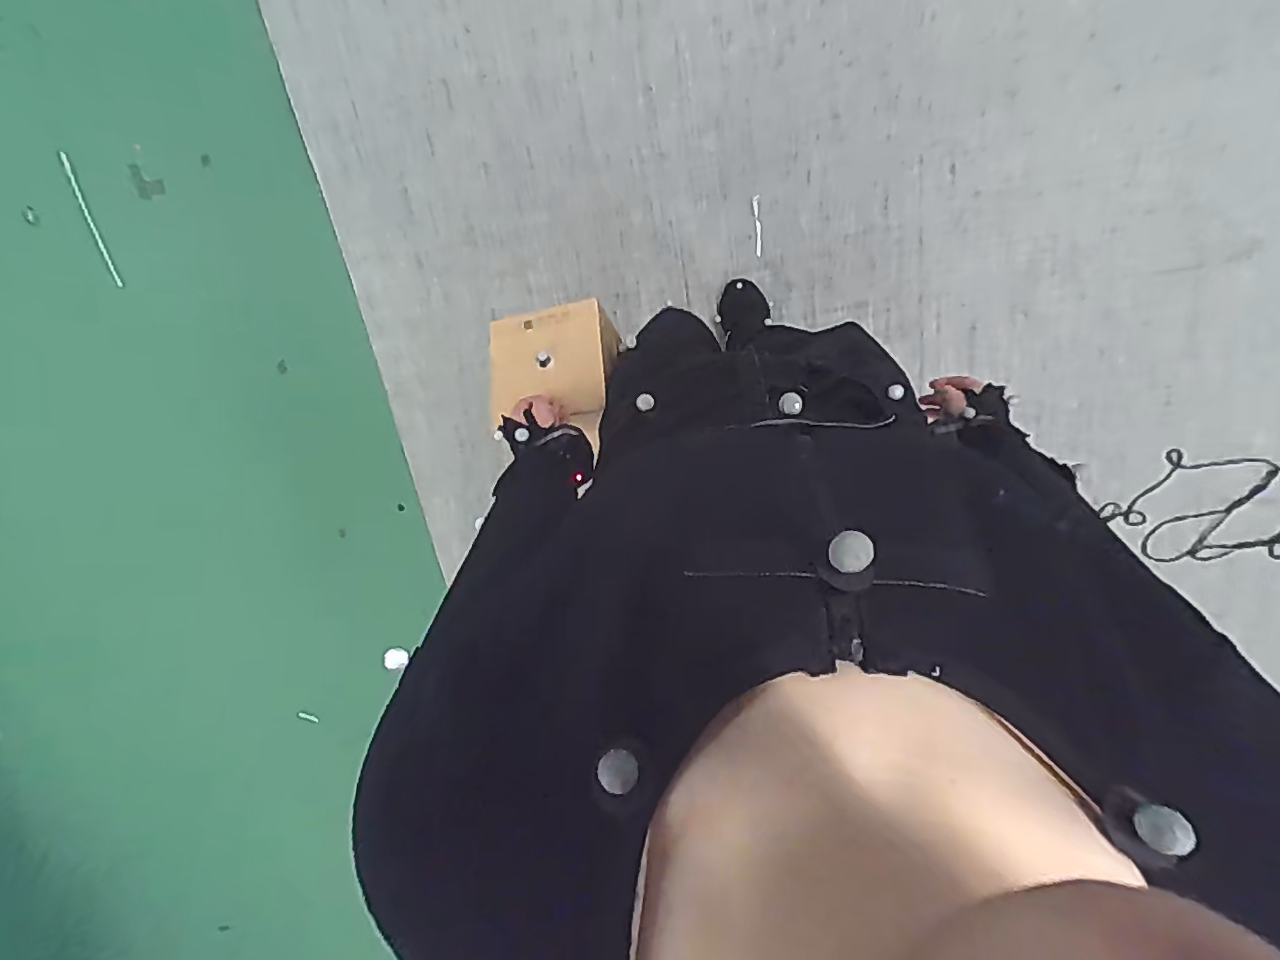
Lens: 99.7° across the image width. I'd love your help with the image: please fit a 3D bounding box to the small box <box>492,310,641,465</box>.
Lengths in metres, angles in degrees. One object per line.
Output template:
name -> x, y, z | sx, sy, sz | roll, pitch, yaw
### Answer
small box -> -0.108, -0.138, 0.818 | 0.168, 0.179, 0.176 | -12, 76, 13
